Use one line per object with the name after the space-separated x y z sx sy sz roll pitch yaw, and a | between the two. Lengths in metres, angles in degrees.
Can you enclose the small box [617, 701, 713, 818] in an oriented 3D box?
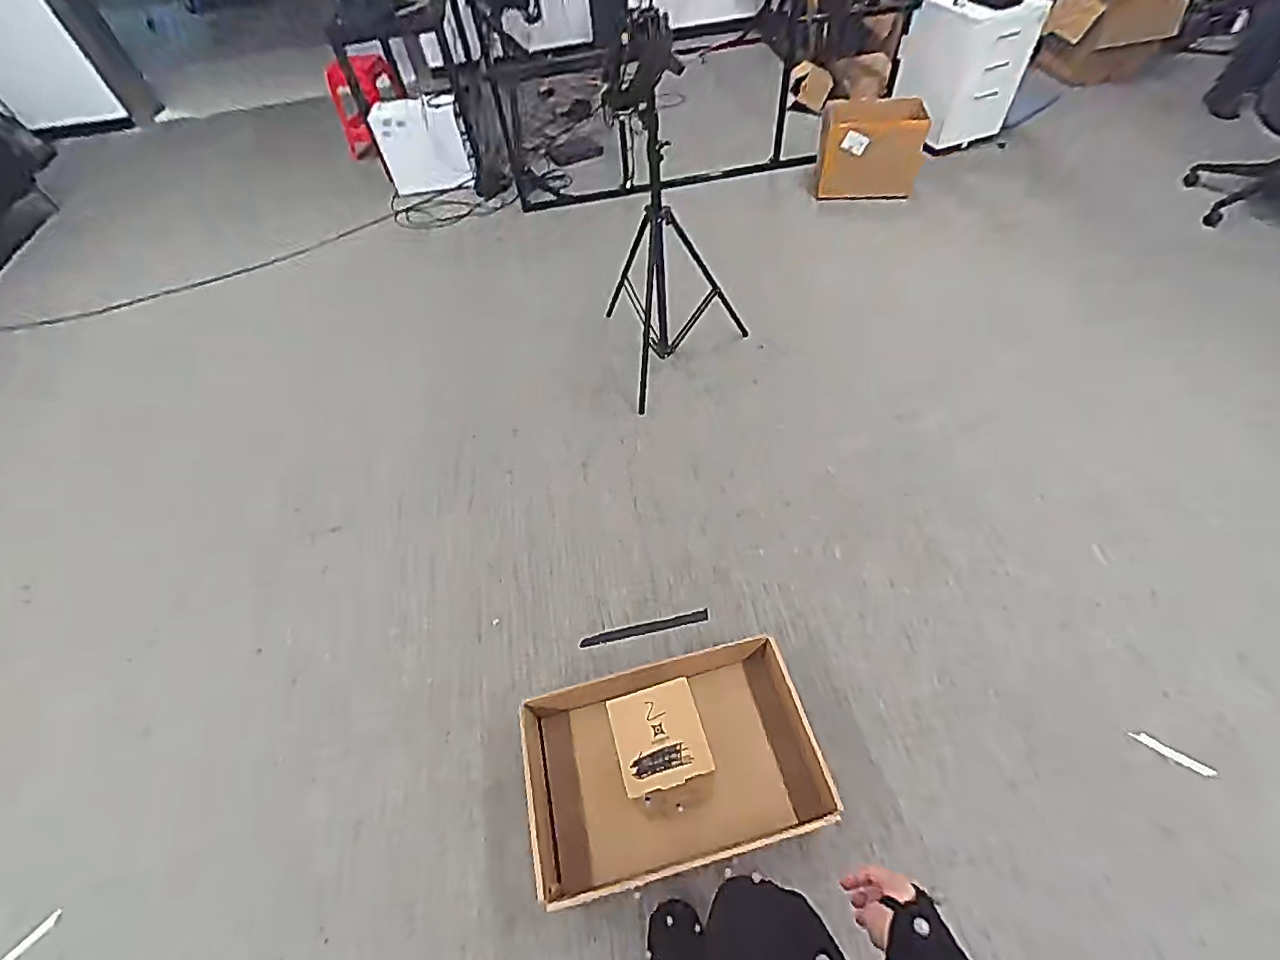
0.054 0.621 1.198 0.168 0.176 0.179 -16 54 -6 | small box
